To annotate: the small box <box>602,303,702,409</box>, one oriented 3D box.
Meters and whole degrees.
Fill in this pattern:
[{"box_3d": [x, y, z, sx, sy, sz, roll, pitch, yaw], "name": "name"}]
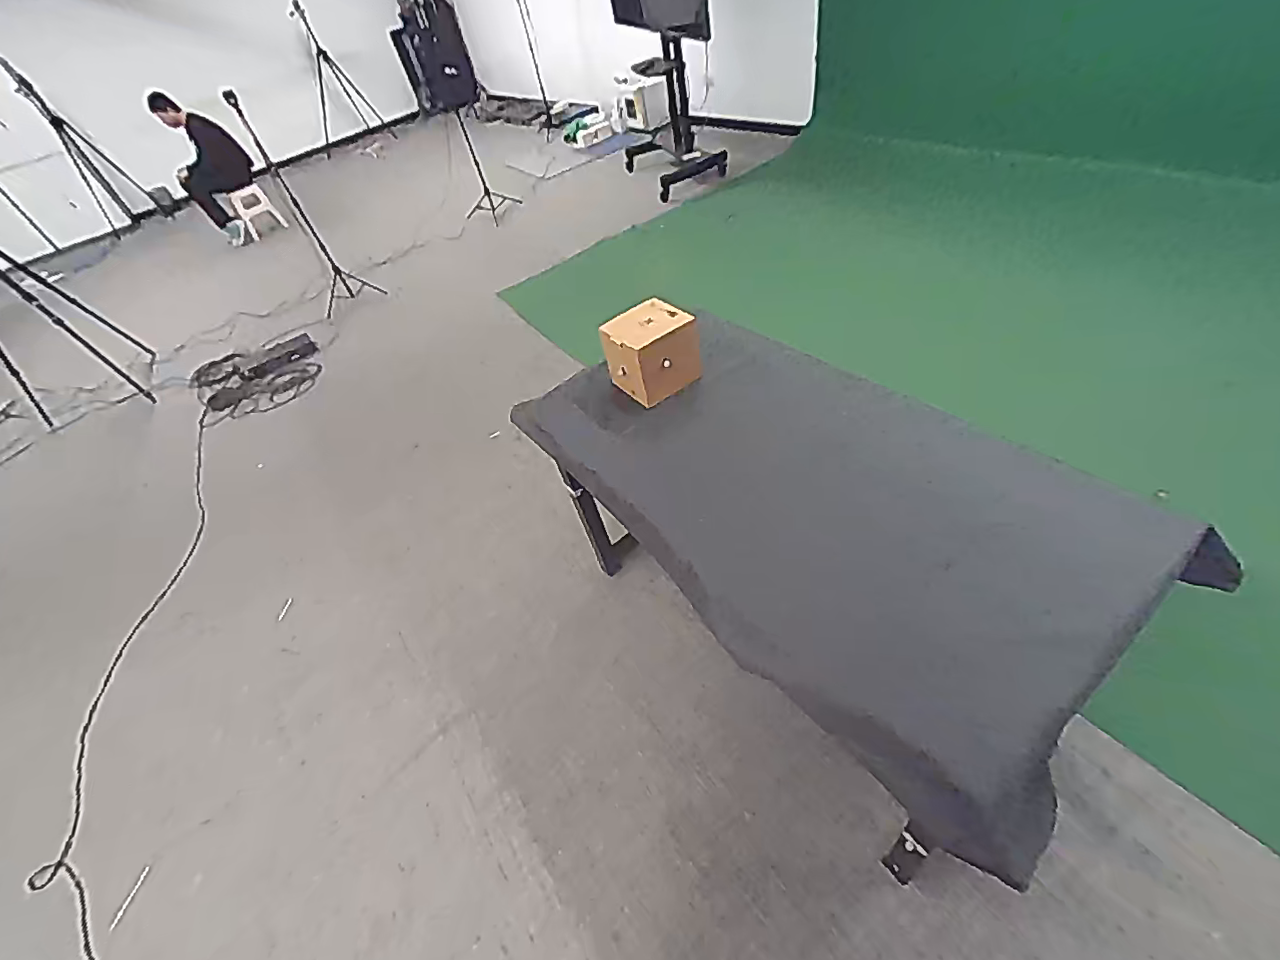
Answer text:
[{"box_3d": [0.036, -0.305, 1.343, 0.179, 0.176, 0.168, -34, 48, -17], "name": "small box"}]
